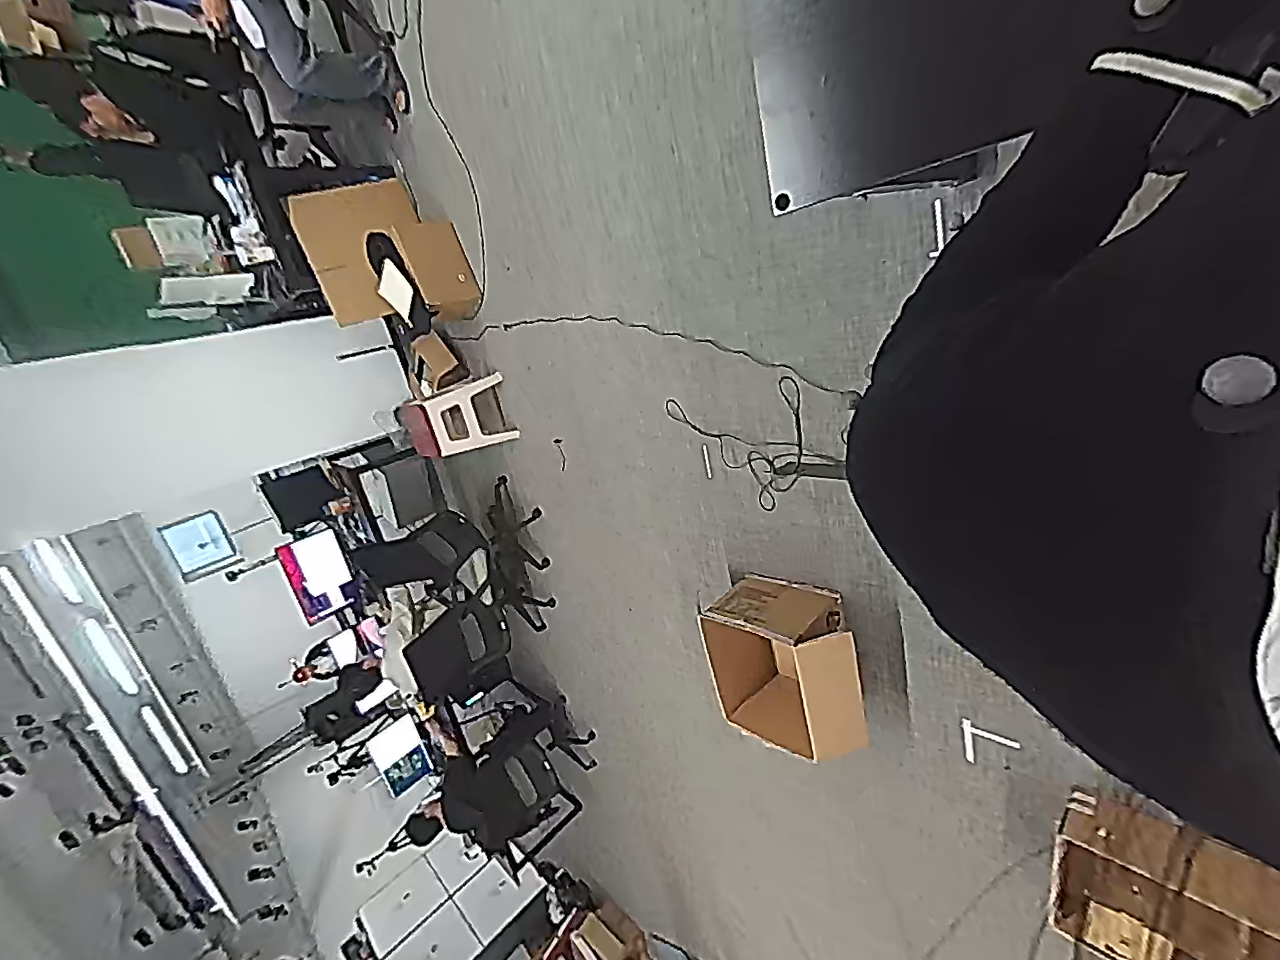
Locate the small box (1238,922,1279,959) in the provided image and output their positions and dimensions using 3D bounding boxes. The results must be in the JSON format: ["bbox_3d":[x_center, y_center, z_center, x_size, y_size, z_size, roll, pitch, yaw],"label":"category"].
[{"bbox_3d":[1.509,1.185,1.239,0.179,0.176,0.168,10,116,48],"label":"small box"}]

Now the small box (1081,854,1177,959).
[{"bbox_3d":[1.314,1.166,1.452,0.168,0.176,0.179,12,118,44],"label":"small box"}]
